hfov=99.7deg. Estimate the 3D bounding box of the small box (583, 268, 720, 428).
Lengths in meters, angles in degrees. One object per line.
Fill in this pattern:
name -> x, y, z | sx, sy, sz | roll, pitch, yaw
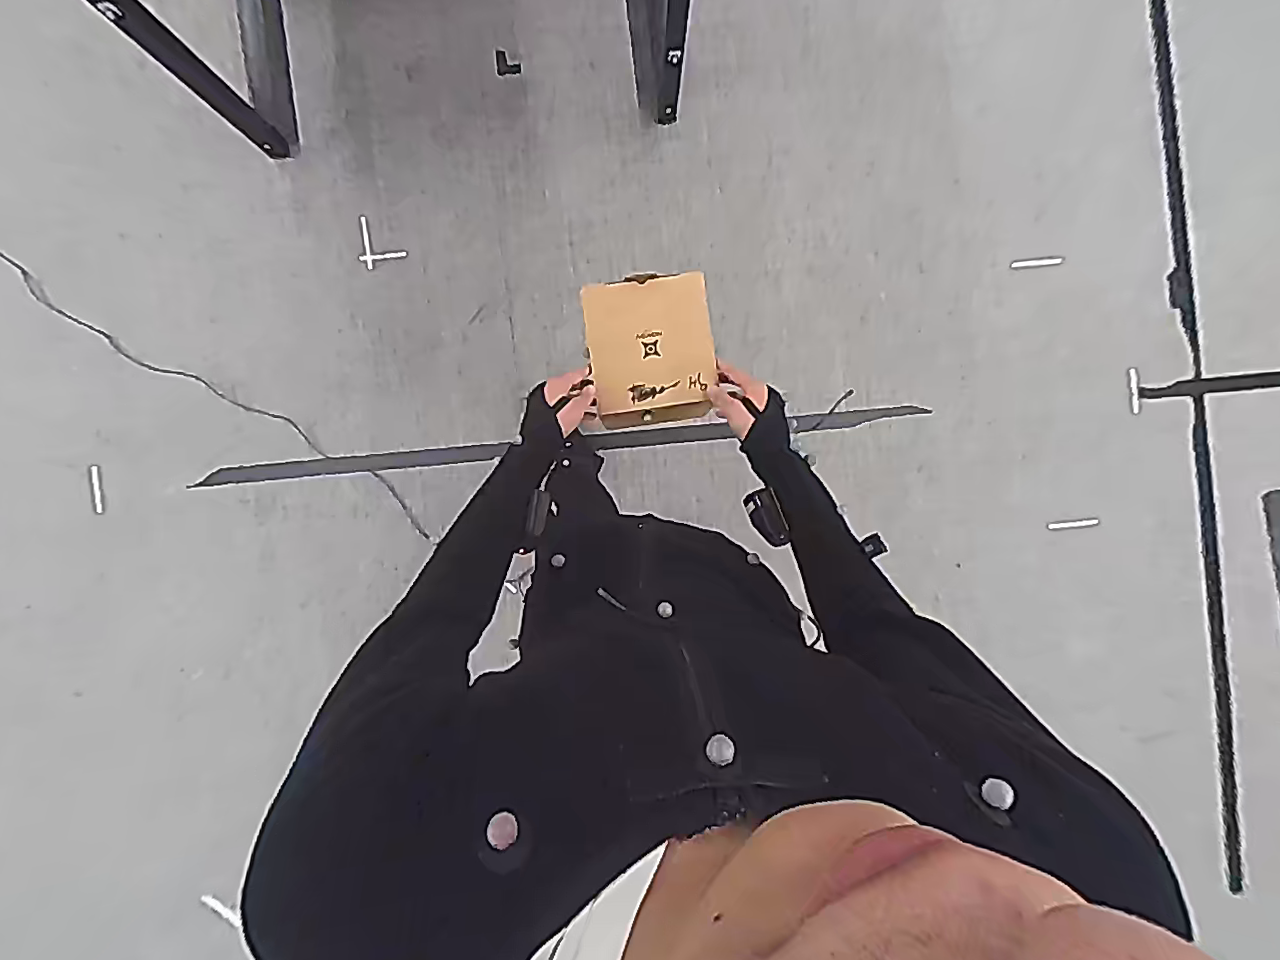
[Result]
small box -> 0.013, -0.182, 0.788 | 0.168, 0.176, 0.179 | -8, 88, -1
